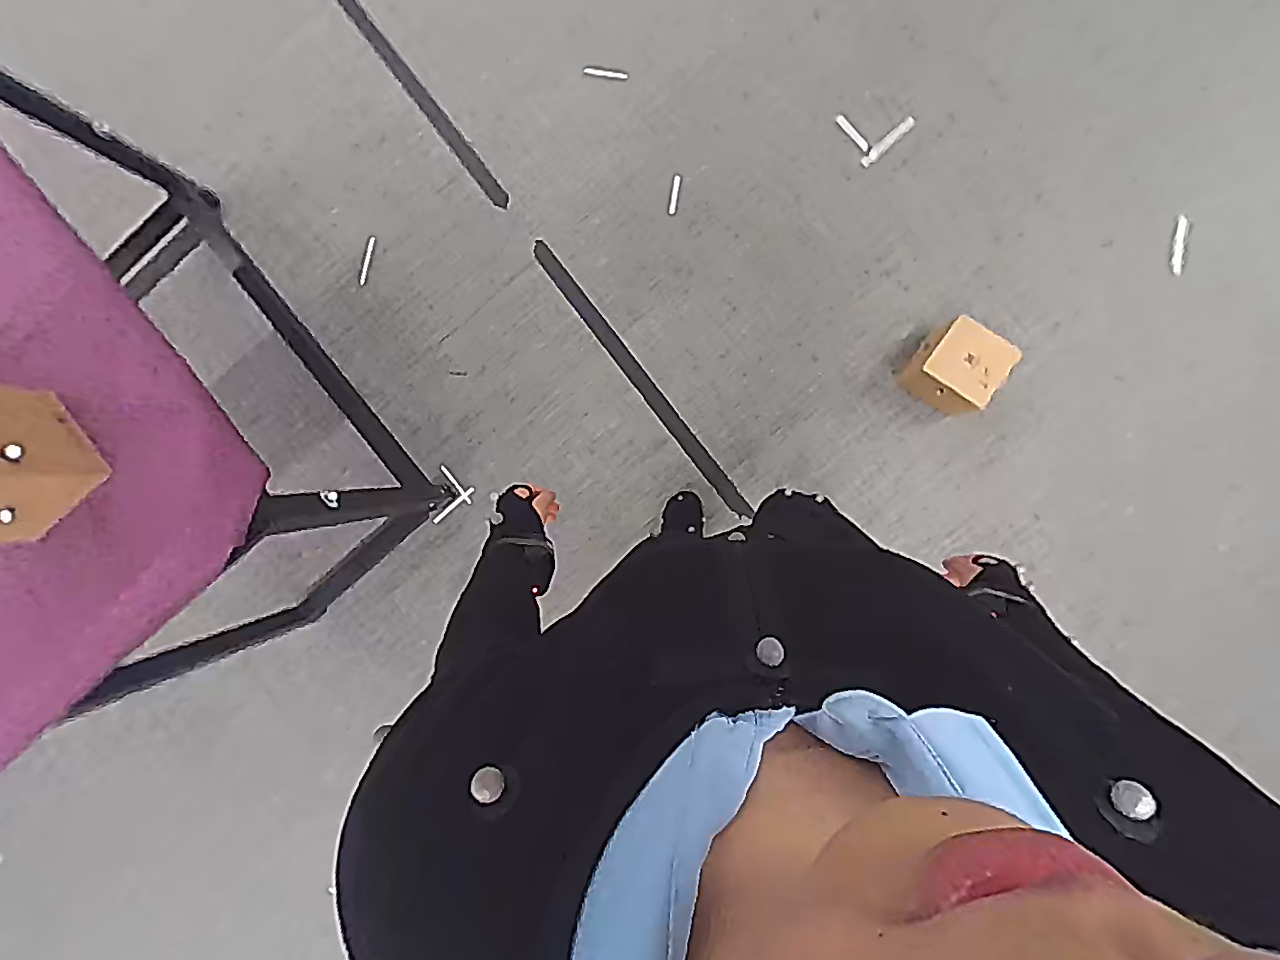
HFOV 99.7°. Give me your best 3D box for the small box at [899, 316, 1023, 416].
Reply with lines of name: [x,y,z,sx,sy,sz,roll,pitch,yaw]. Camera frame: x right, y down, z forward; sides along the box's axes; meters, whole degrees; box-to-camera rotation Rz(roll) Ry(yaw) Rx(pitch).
small box: [0.796,-0.278,1.366,0.179,0.176,0.168,36,93,3]
